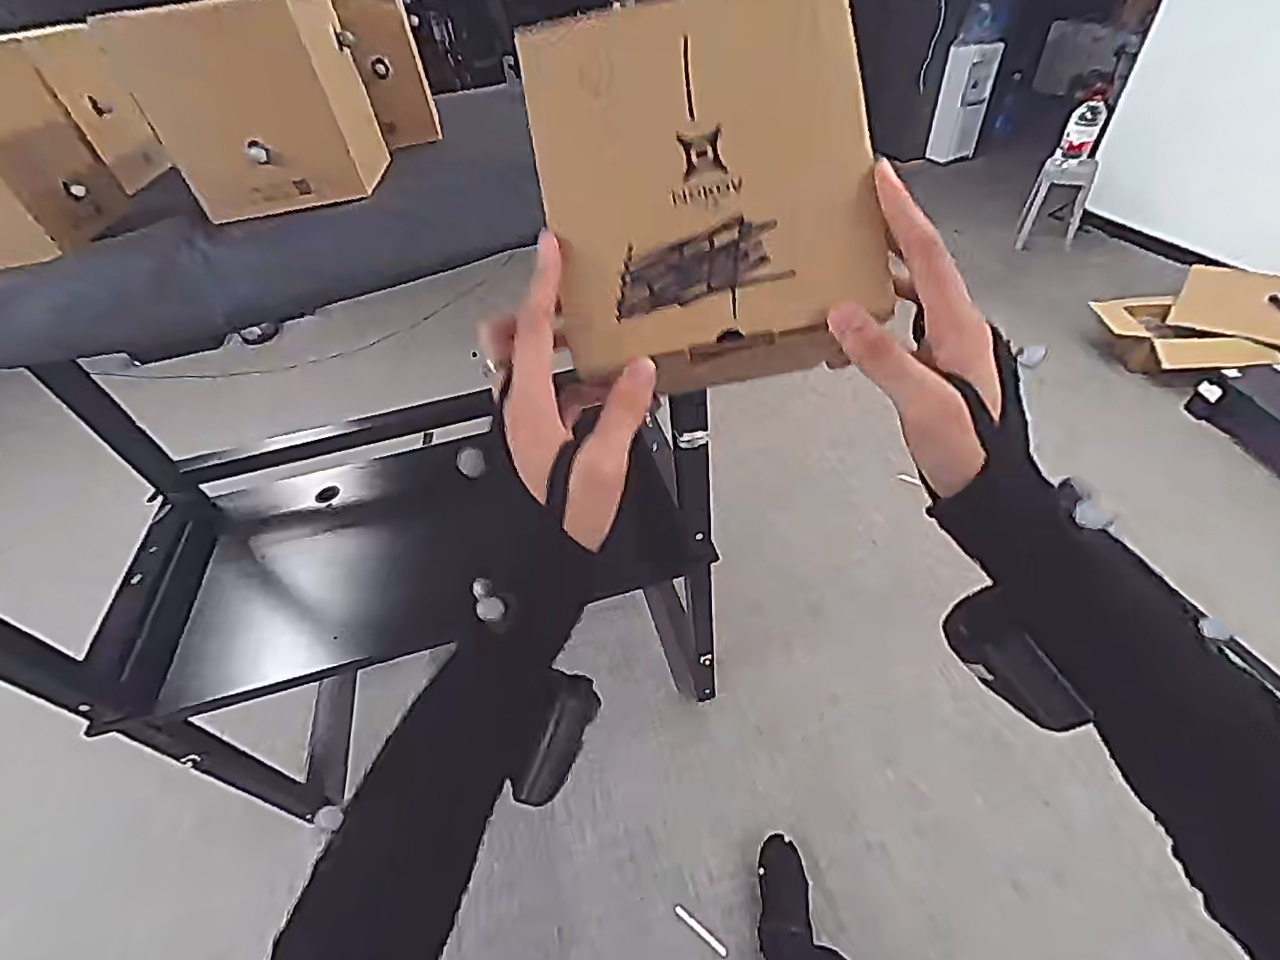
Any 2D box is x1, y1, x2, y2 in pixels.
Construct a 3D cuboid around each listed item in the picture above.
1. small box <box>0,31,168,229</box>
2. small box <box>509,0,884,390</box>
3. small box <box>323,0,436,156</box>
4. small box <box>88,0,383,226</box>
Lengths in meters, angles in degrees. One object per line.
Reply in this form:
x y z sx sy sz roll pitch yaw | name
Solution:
-0.774 -0.448 0.695 0.179 0.176 0.168 -15 45 -6 | small box
0.034 -0.159 0.347 0.168 0.179 0.176 -10 2 4 | small box
-0.389 -0.552 0.738 0.168 0.176 0.179 -15 46 -9 | small box
-0.397 -0.392 0.577 0.168 0.176 0.179 -13 44 -4 | small box
